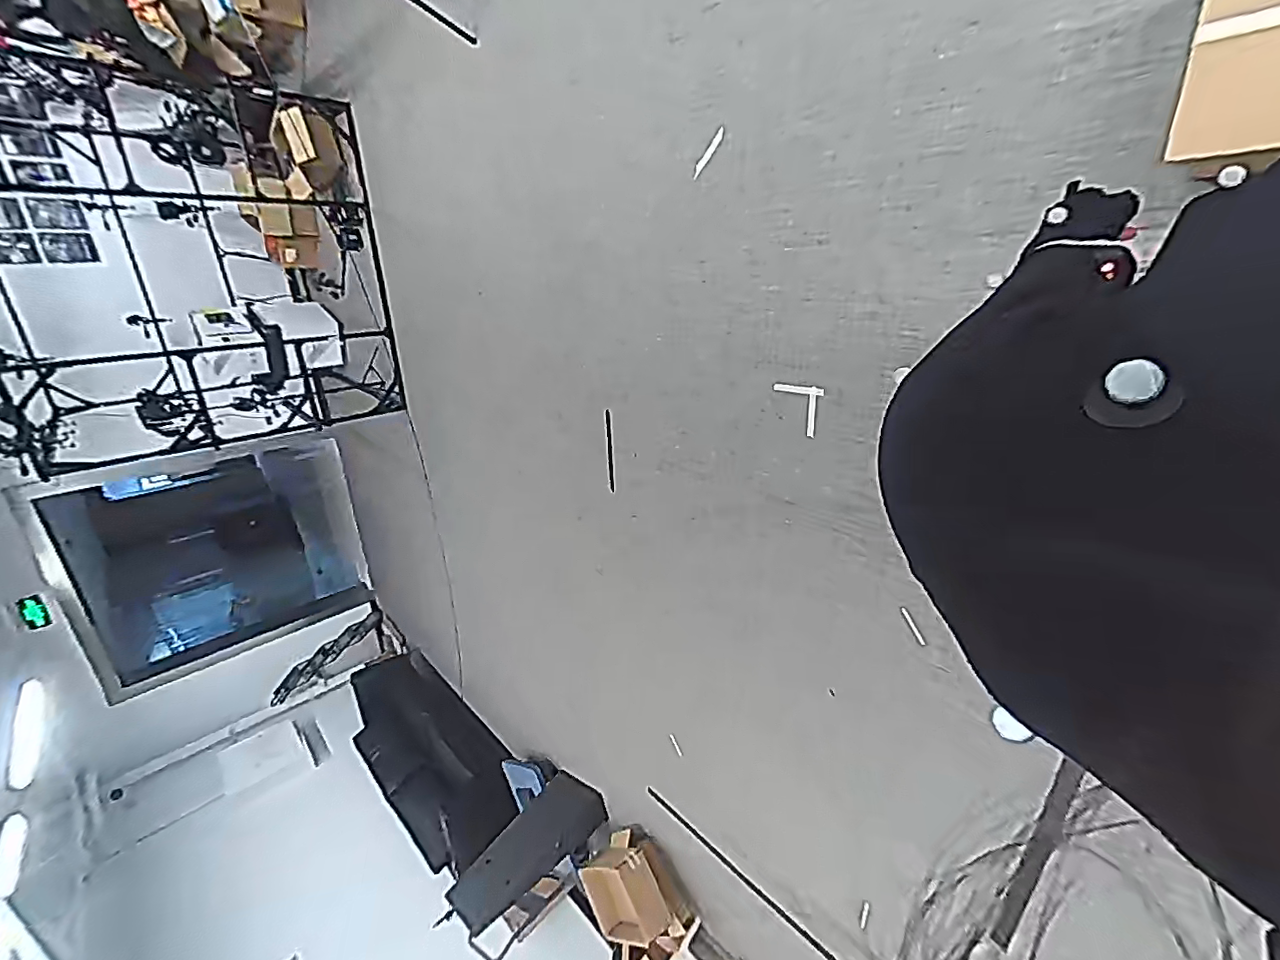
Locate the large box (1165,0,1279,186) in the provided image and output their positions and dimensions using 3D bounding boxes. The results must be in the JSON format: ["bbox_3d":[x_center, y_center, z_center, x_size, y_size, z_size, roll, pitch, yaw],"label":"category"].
[{"bbox_3d":[1.023,-0.609,0.721,0.408,0.320,0.320,18,119,44],"label":"large box"}]
